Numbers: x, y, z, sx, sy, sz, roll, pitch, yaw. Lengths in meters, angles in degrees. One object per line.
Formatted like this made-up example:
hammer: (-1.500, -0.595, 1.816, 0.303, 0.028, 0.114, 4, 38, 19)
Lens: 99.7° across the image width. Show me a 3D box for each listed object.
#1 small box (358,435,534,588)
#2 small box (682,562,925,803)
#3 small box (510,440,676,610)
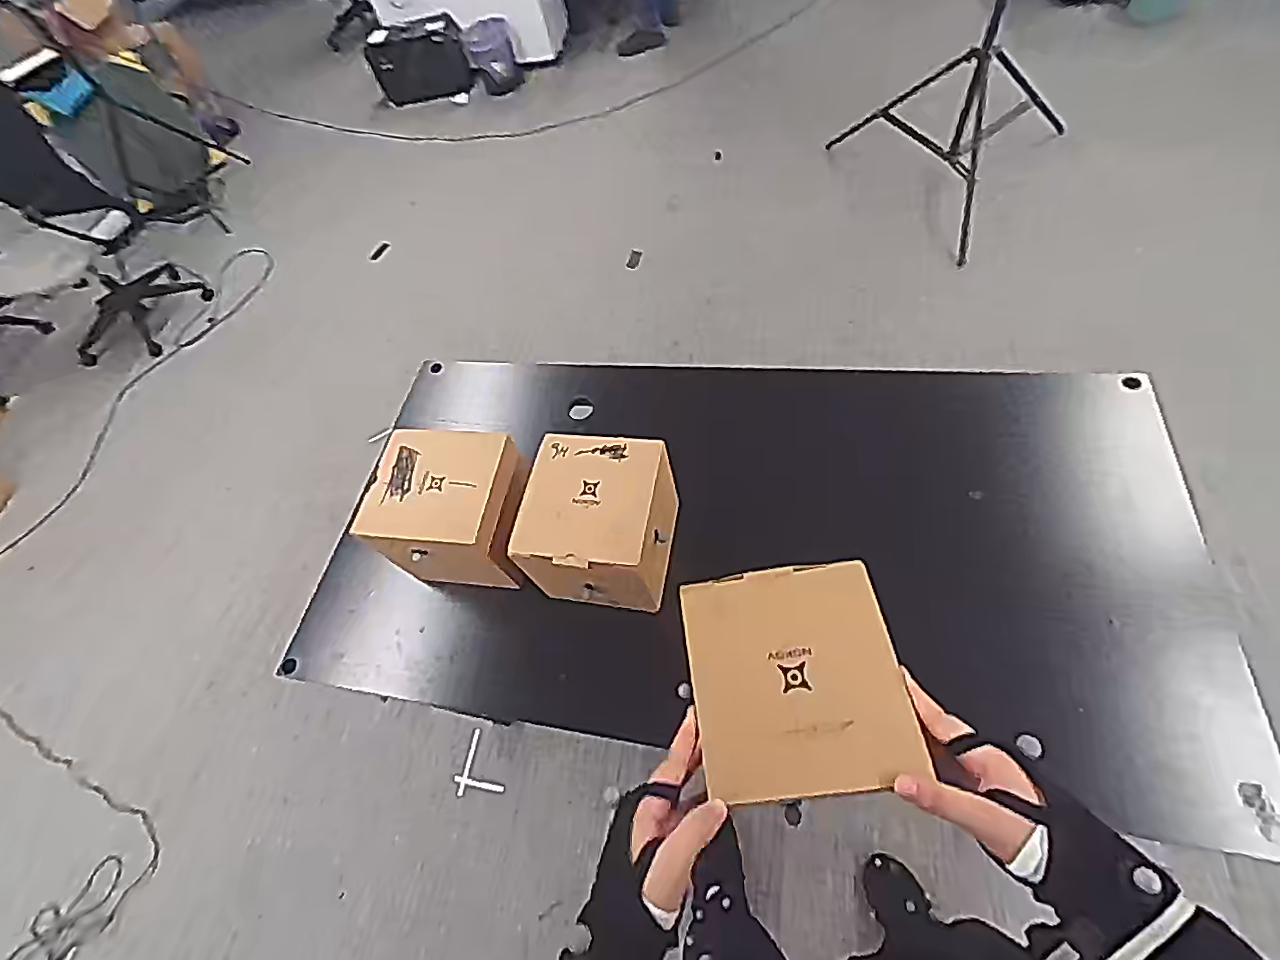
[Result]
small box: (-0.258, 0.050, 0.789, 0.179, 0.176, 0.168, 3, 61, 12)
small box: (0.135, 0.199, 0.515, 0.168, 0.176, 0.179, -9, 59, 5)
small box: (-0.050, 0.066, 0.739, 0.168, 0.176, 0.179, 5, 62, 14)
